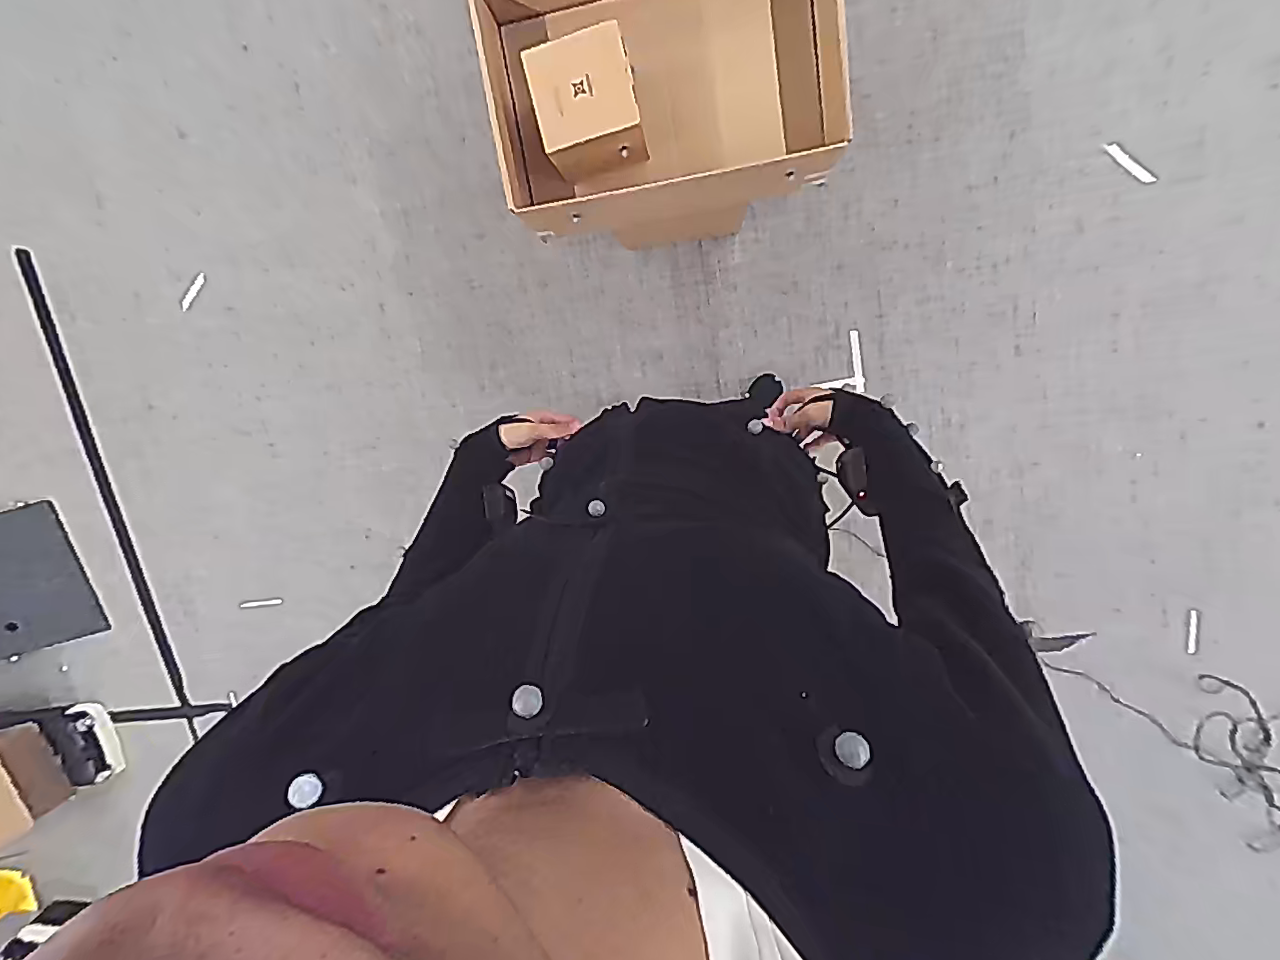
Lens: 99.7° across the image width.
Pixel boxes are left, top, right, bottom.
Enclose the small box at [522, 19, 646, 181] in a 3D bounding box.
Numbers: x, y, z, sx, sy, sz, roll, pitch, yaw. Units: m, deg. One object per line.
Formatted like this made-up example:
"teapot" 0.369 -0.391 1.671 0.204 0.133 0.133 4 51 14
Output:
"small box" -0.090 -0.679 0.988 0.179 0.176 0.168 -12 100 9
